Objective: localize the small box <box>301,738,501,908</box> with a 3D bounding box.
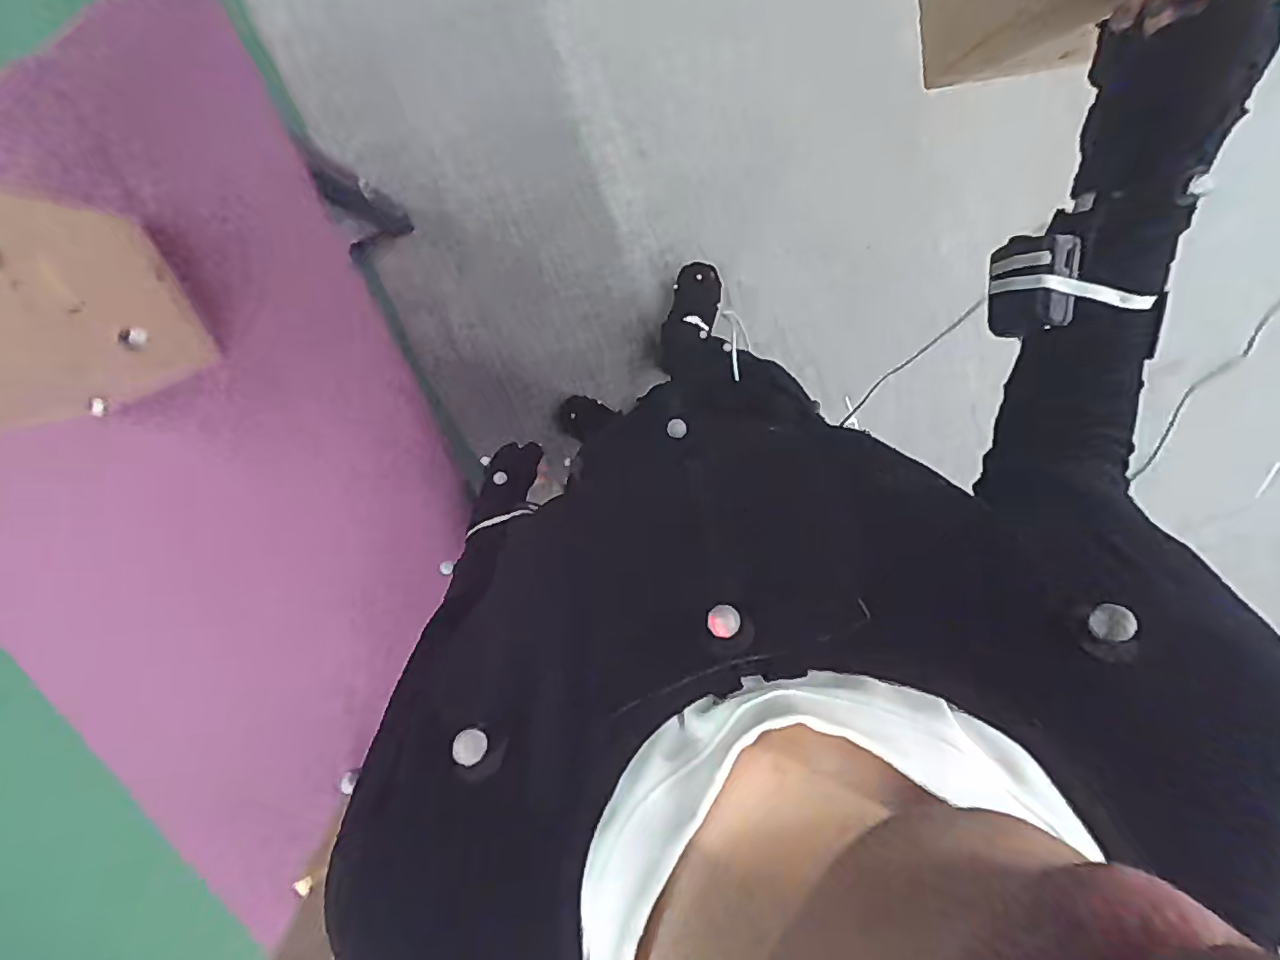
[{"bbox_3d":[-0.319,0.511,0.766,0.179,0.176,0.168,-25,106,0],"label":"small box"}]
